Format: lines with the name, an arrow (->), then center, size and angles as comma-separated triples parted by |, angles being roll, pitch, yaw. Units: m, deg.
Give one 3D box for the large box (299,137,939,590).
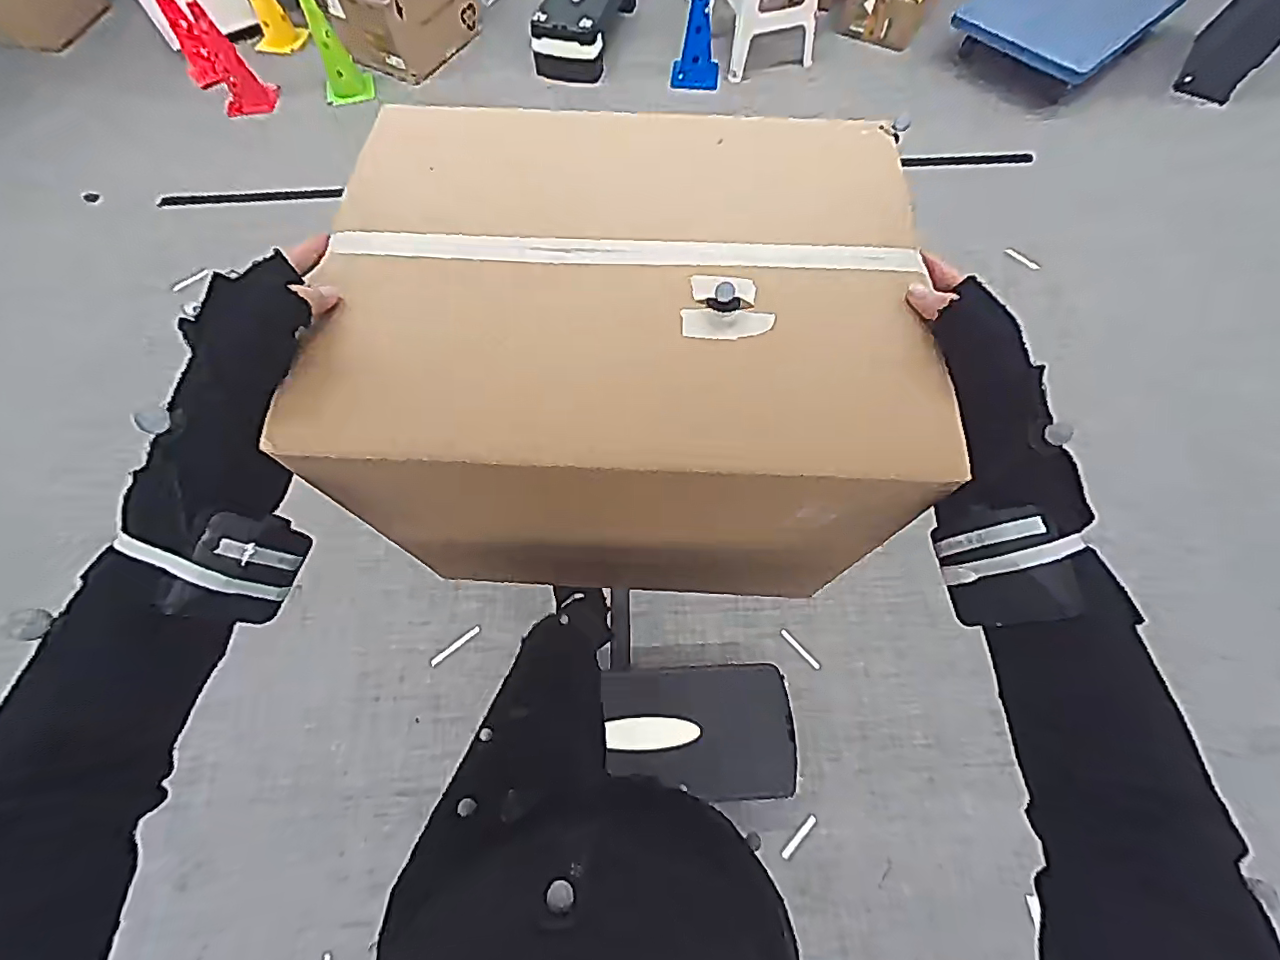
large box -> -0.011, -0.085, 0.527 | 0.408, 0.320, 0.320 | 3, 65, 1
